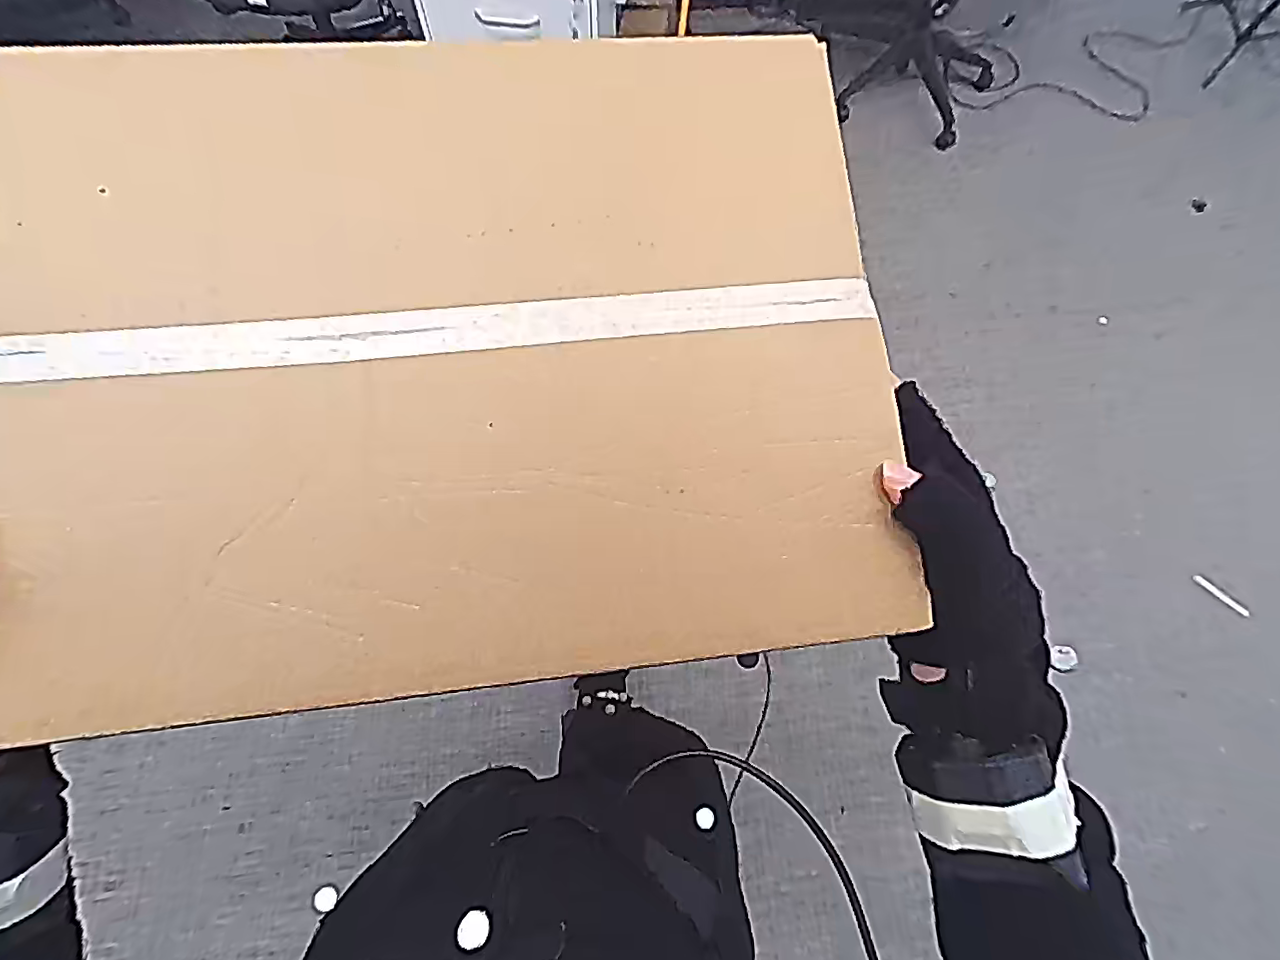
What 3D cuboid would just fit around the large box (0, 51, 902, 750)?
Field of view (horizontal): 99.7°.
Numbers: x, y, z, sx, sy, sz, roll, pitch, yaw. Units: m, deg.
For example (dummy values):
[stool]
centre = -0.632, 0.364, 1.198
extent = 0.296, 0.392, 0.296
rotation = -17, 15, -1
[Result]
[large box]
centre = -0.098, -0.040, 0.403
extent = 0.408, 0.320, 0.320
rotation = -6, 81, -5
